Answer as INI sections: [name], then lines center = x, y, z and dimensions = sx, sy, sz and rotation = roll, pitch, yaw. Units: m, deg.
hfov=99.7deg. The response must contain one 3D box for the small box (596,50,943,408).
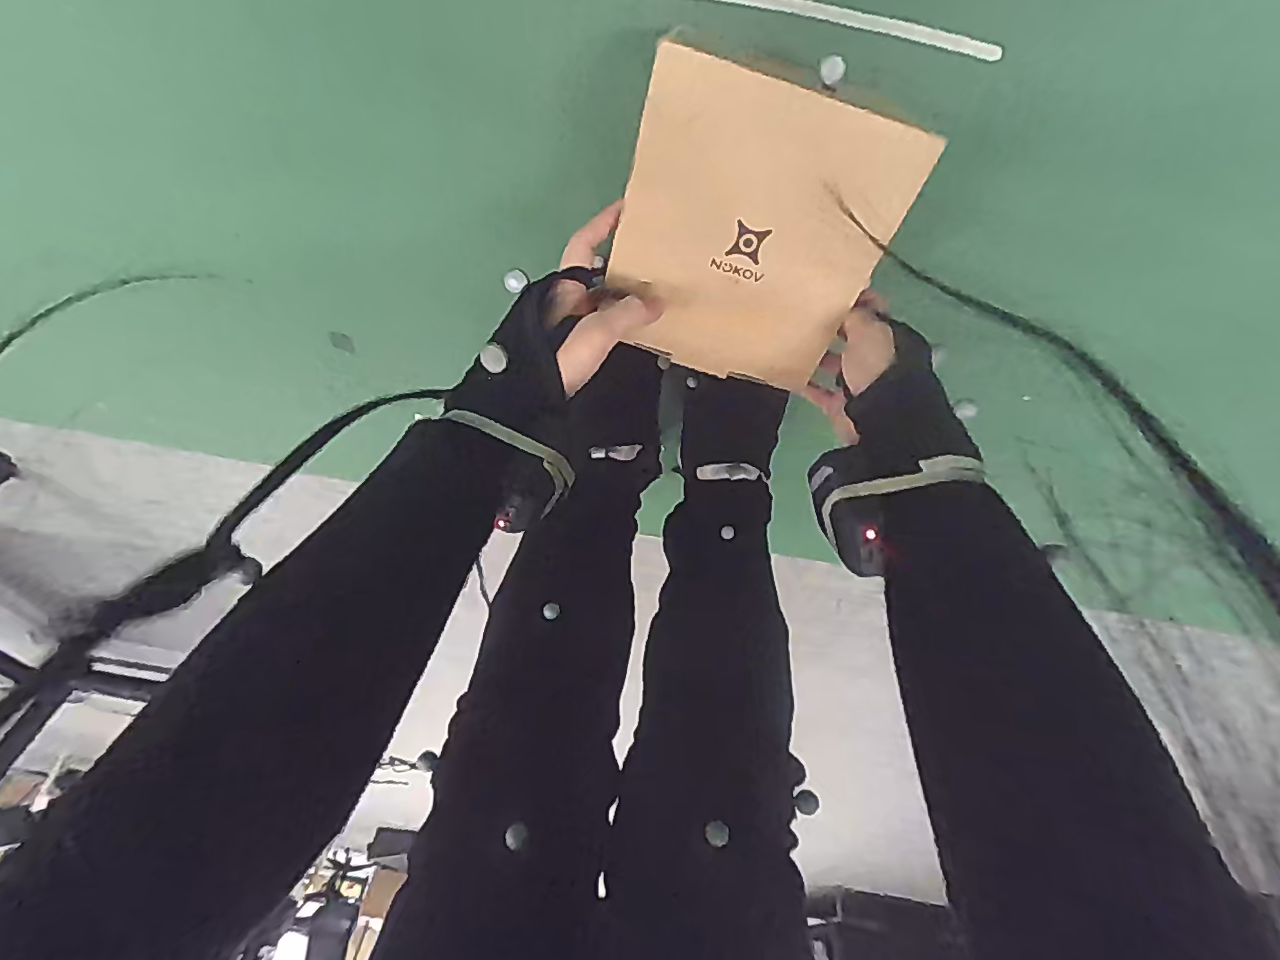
[small box]
center = 0.076, -0.189, 0.402
dimensions = 0.168, 0.176, 0.179
rotation = 16, 131, -5
